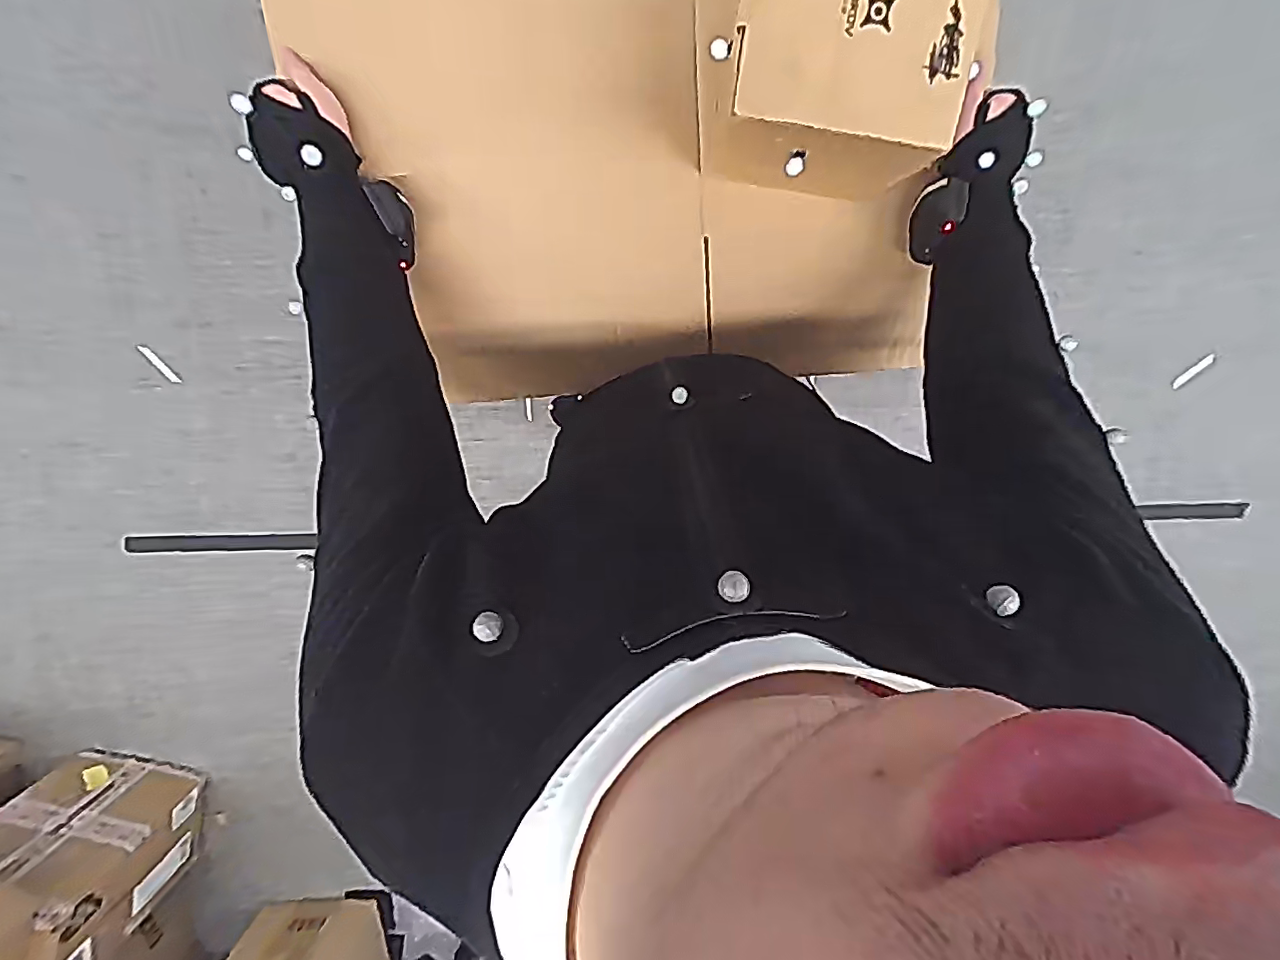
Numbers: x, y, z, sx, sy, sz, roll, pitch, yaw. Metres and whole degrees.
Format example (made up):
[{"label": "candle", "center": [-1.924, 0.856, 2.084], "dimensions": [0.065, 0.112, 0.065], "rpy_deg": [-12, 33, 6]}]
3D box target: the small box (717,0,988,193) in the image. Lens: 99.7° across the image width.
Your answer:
[{"label": "small box", "center": [0.172, -0.372, 0.479], "dimensions": [0.179, 0.176, 0.168], "rpy_deg": [8, 105, -1]}]
